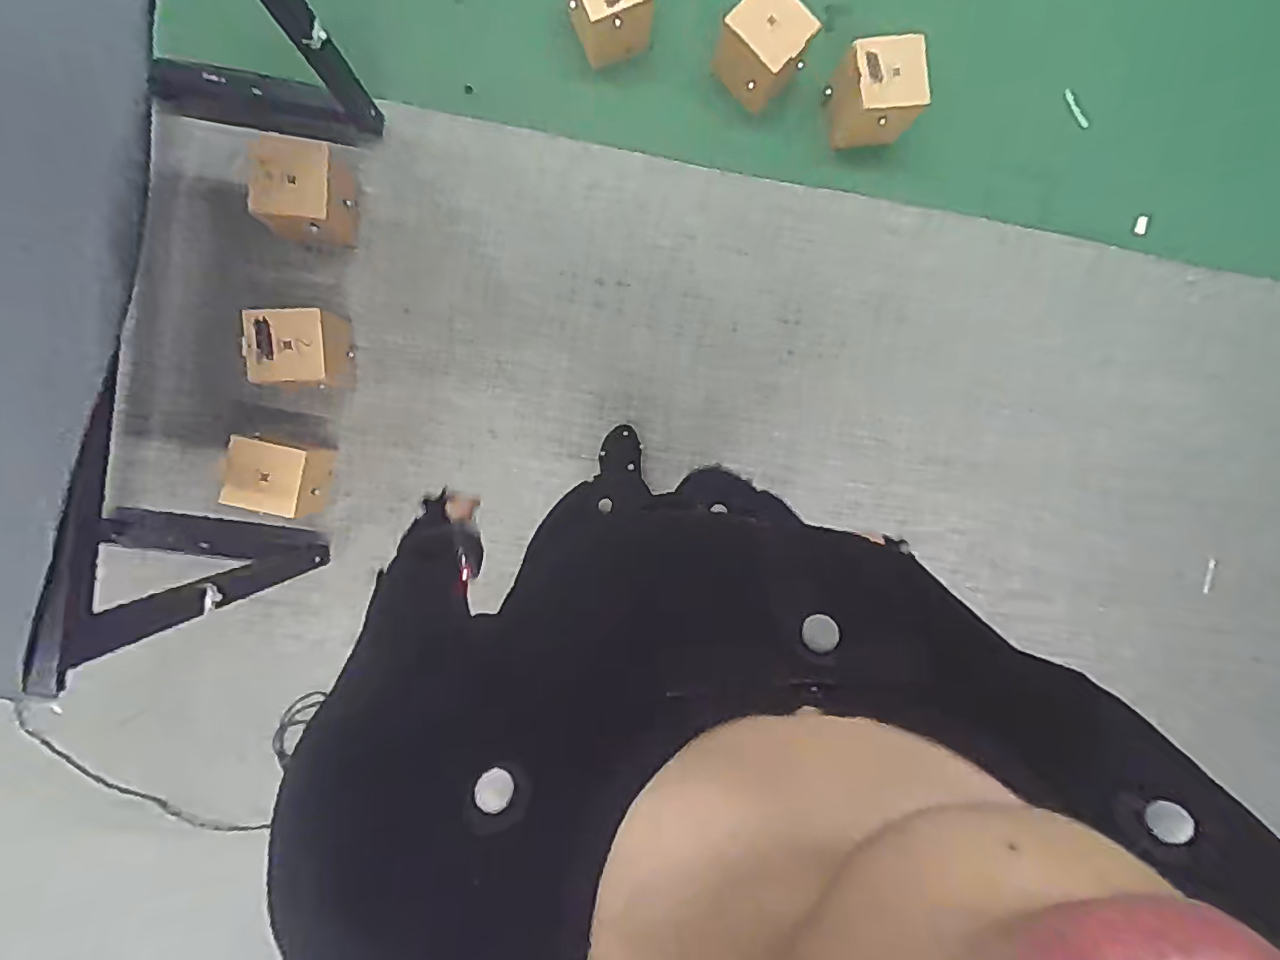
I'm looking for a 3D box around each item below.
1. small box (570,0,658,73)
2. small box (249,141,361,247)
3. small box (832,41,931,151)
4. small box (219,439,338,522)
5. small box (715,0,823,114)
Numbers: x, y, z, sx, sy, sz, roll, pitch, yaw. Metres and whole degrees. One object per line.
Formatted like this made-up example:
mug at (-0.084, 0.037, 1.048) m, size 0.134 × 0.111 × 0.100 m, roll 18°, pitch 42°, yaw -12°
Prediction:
small box at (-0.069, -1.162, 1.326) m, size 0.168 × 0.176 × 0.179 m, roll -24°, pitch 93°, yaw -2°
small box at (-0.796, -0.678, 1.301) m, size 0.179 × 0.176 × 0.168 m, roll 4°, pitch 92°, yaw -4°
small box at (0.605, -0.967, 1.377) m, size 0.179 × 0.176 × 0.168 m, roll -7°, pitch 93°, yaw -4°
small box at (-0.881, -0.005, 1.335) m, size 0.179 × 0.176 × 0.168 m, roll 13°, pitch 92°, yaw -4°
small box at (0.315, -1.067, 1.354) m, size 0.179 × 0.176 × 0.168 m, roll 43°, pitch 89°, yaw -4°
